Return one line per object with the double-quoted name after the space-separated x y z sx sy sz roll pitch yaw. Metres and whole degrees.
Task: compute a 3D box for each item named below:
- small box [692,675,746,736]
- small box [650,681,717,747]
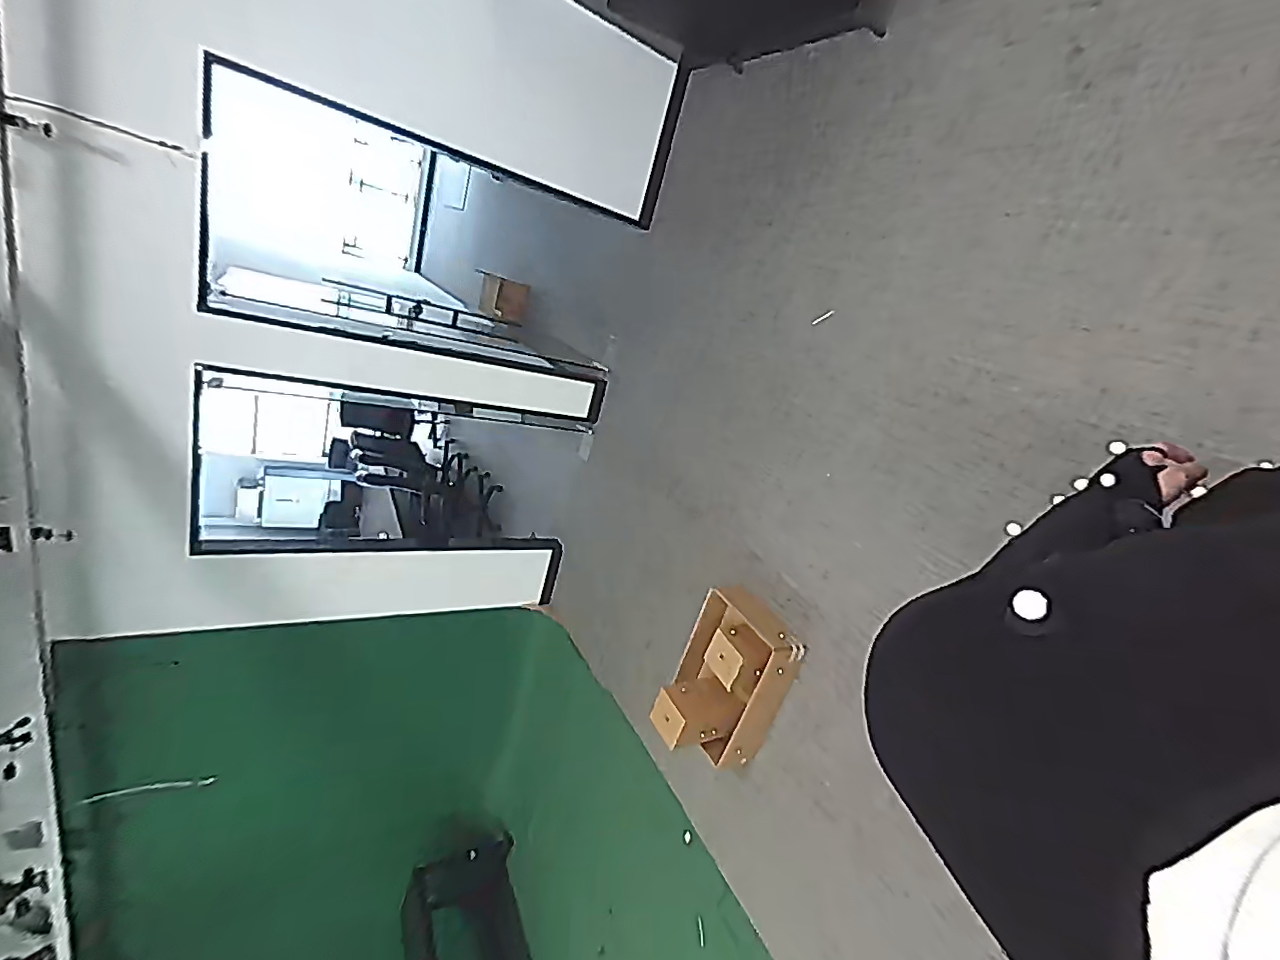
0.307 0.935 2.255 0.179 0.176 0.168 46 124 49 "small box"
0.174 0.927 2.161 0.179 0.176 0.168 44 122 48 "small box"
